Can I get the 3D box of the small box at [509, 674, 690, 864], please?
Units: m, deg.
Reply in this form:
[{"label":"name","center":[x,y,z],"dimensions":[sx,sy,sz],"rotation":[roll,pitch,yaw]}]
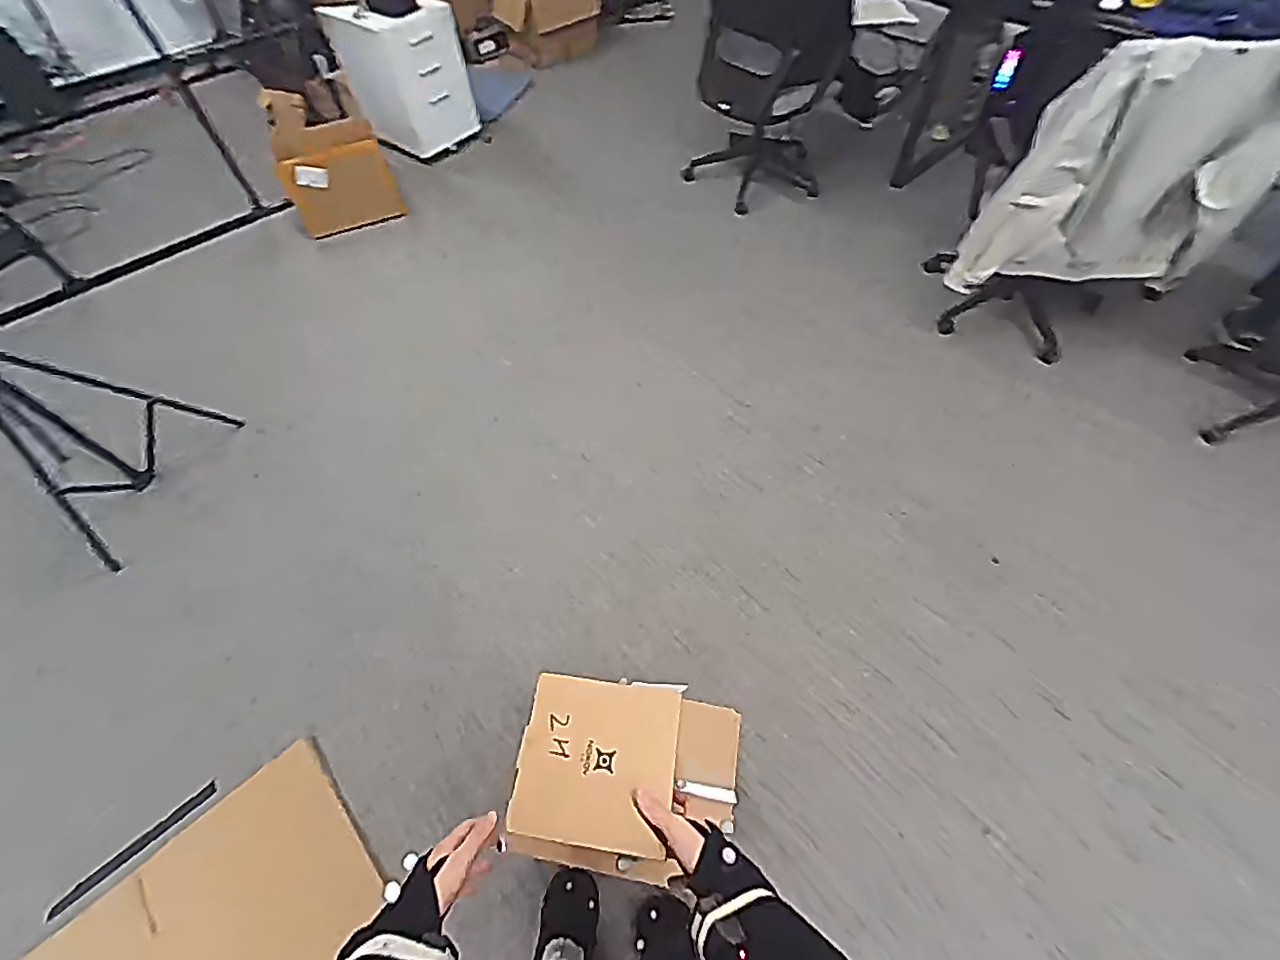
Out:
[{"label":"small box","center":[-0.037,0.353,0.664],"dimensions":[0.179,0.176,0.168],"rotation":[6,57,6]}]
